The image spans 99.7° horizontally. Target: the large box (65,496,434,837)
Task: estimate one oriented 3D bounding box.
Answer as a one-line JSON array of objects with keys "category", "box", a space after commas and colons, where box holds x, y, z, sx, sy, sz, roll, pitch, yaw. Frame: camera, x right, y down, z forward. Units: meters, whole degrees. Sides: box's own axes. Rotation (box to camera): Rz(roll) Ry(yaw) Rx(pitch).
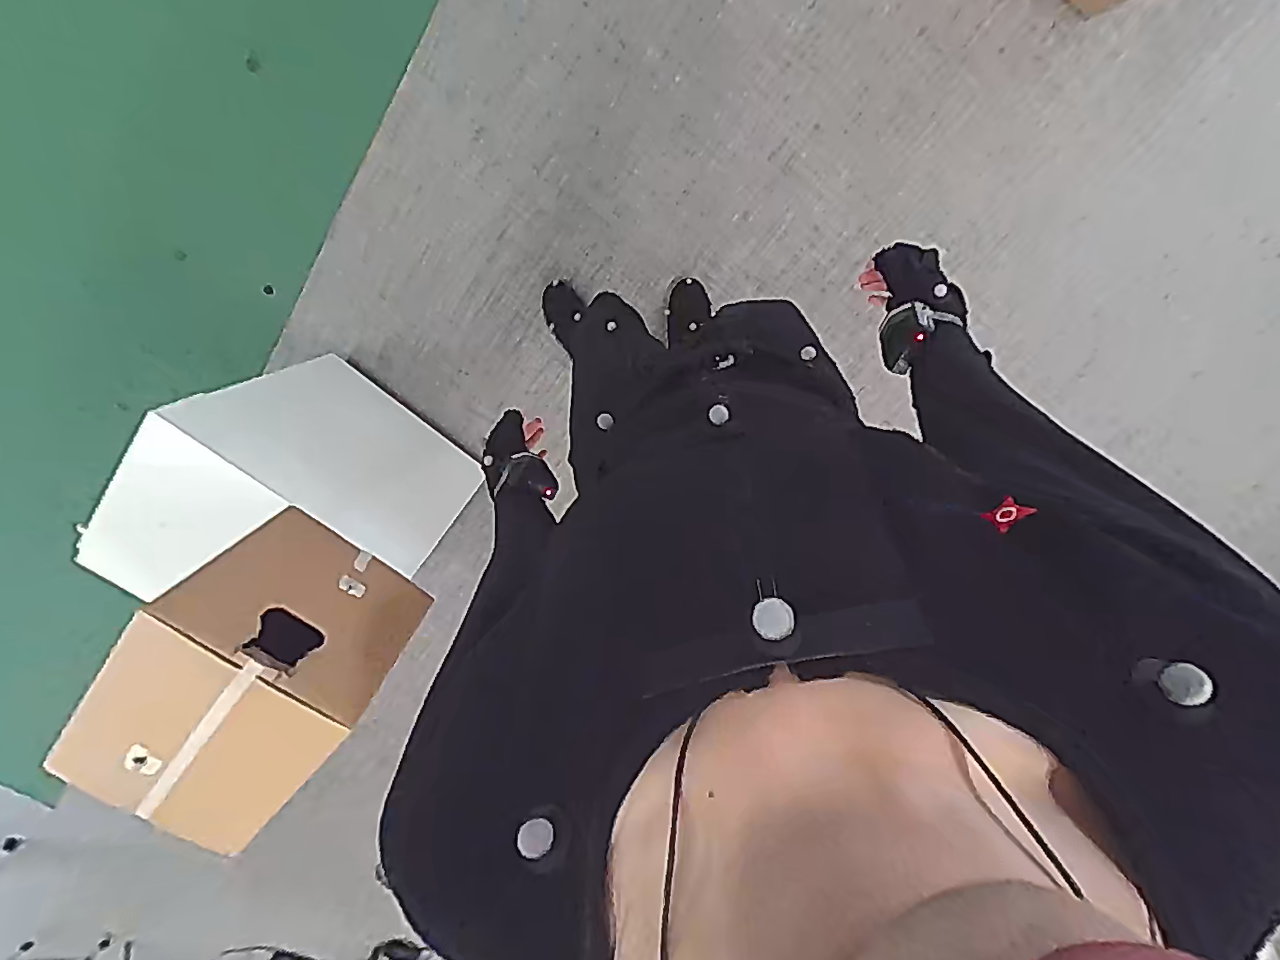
[{"category": "large box", "box": [-0.633, 0.307, 0.930, 0.320, 0.320, 0.408, 39, 111, -13]}]
